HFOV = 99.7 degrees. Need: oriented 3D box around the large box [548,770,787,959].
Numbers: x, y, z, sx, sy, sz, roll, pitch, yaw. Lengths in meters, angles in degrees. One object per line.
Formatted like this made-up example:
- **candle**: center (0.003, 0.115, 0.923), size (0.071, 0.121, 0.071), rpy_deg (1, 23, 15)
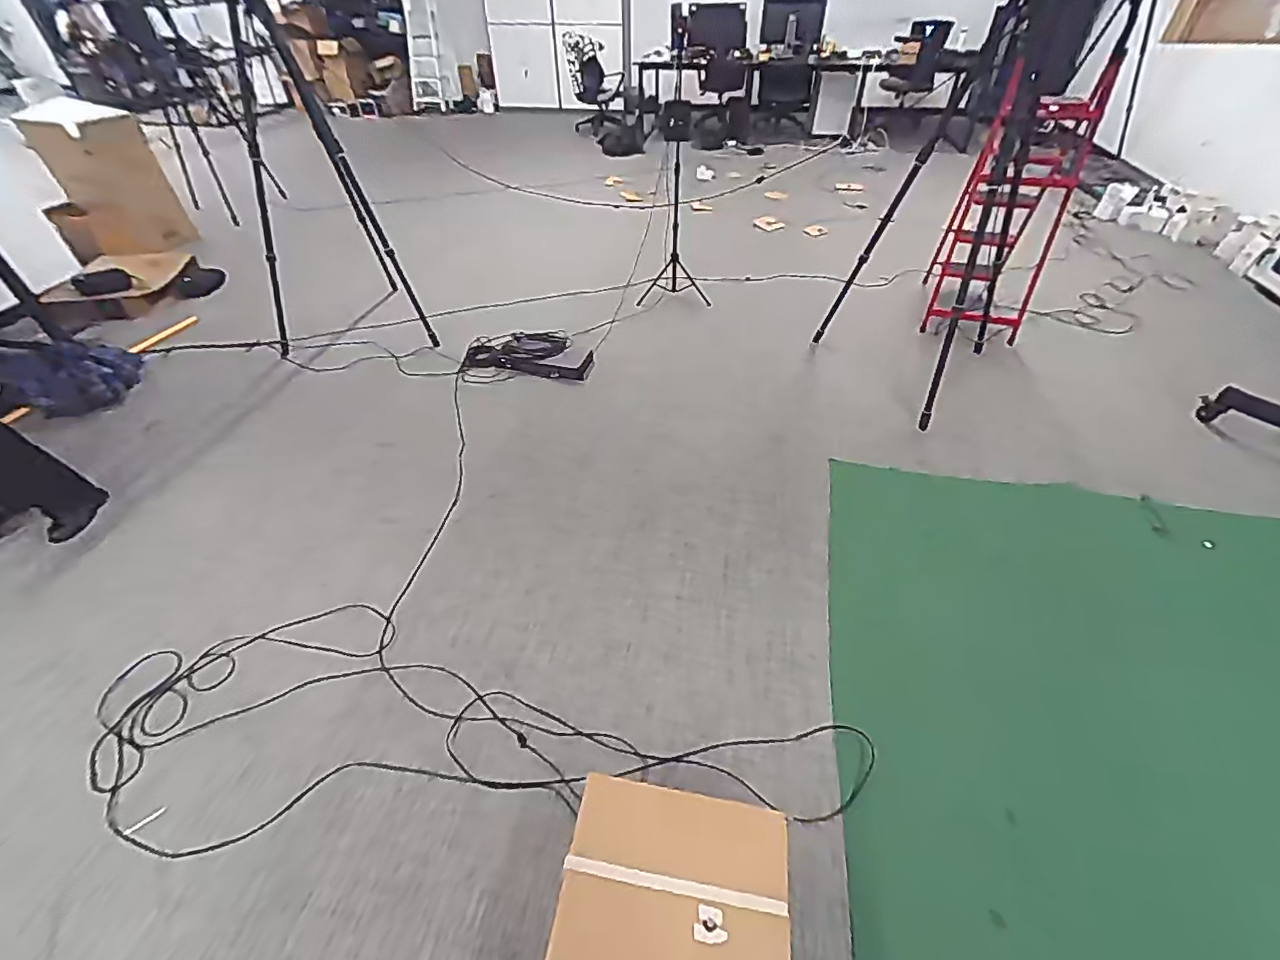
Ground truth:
- **large box**: center (0.060, 0.829, 1.083), size (0.408, 0.320, 0.320), rpy_deg (8, 45, 6)
